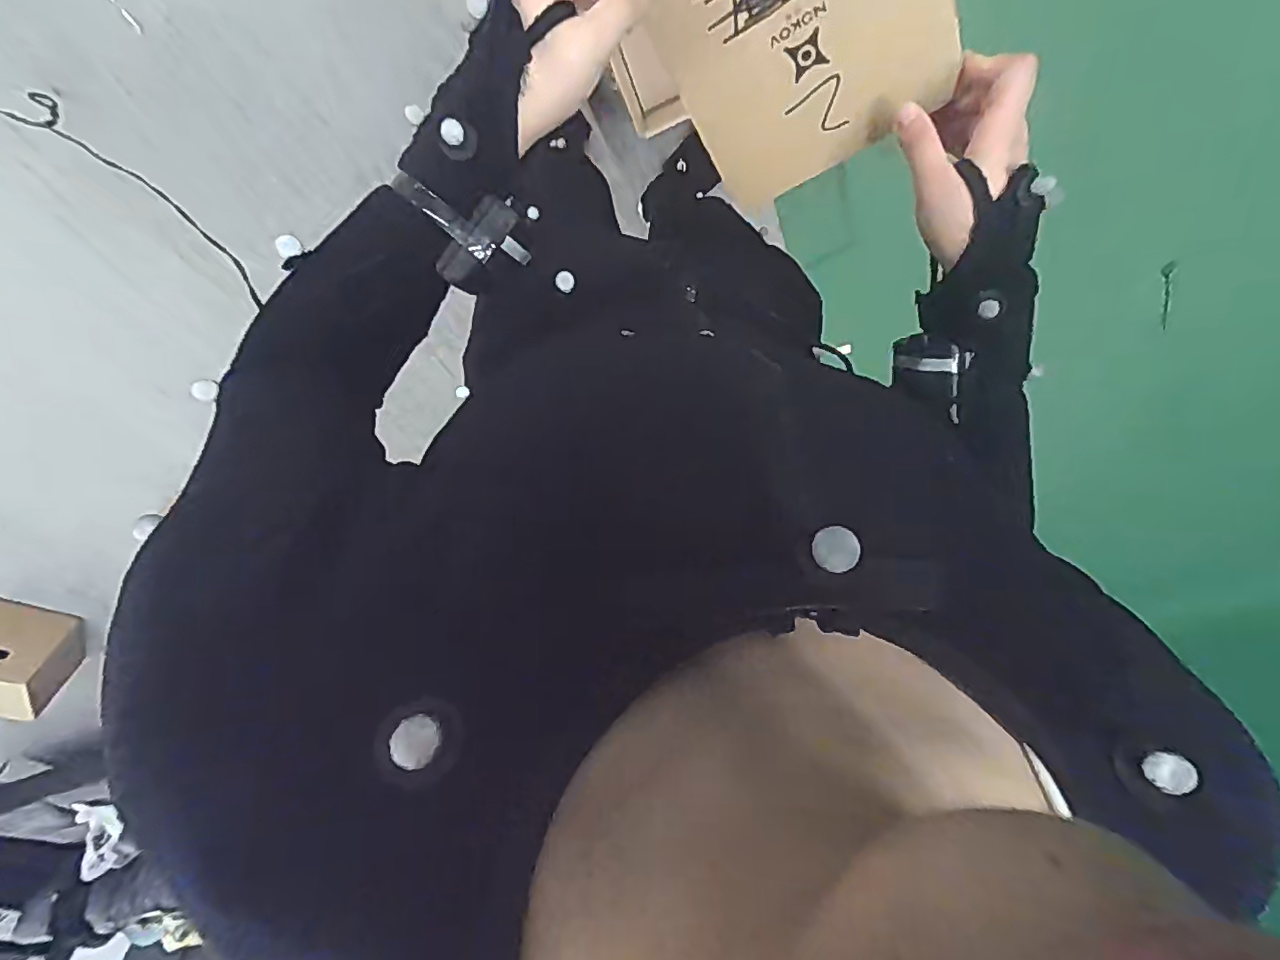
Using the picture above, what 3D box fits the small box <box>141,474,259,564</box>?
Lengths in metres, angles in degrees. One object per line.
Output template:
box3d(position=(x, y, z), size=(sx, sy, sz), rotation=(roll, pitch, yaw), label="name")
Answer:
box3d(position=(-1.280, 0.114, 1.591), size=(0.168, 0.176, 0.179), rotation=(-20, 129, 16), label="small box")
